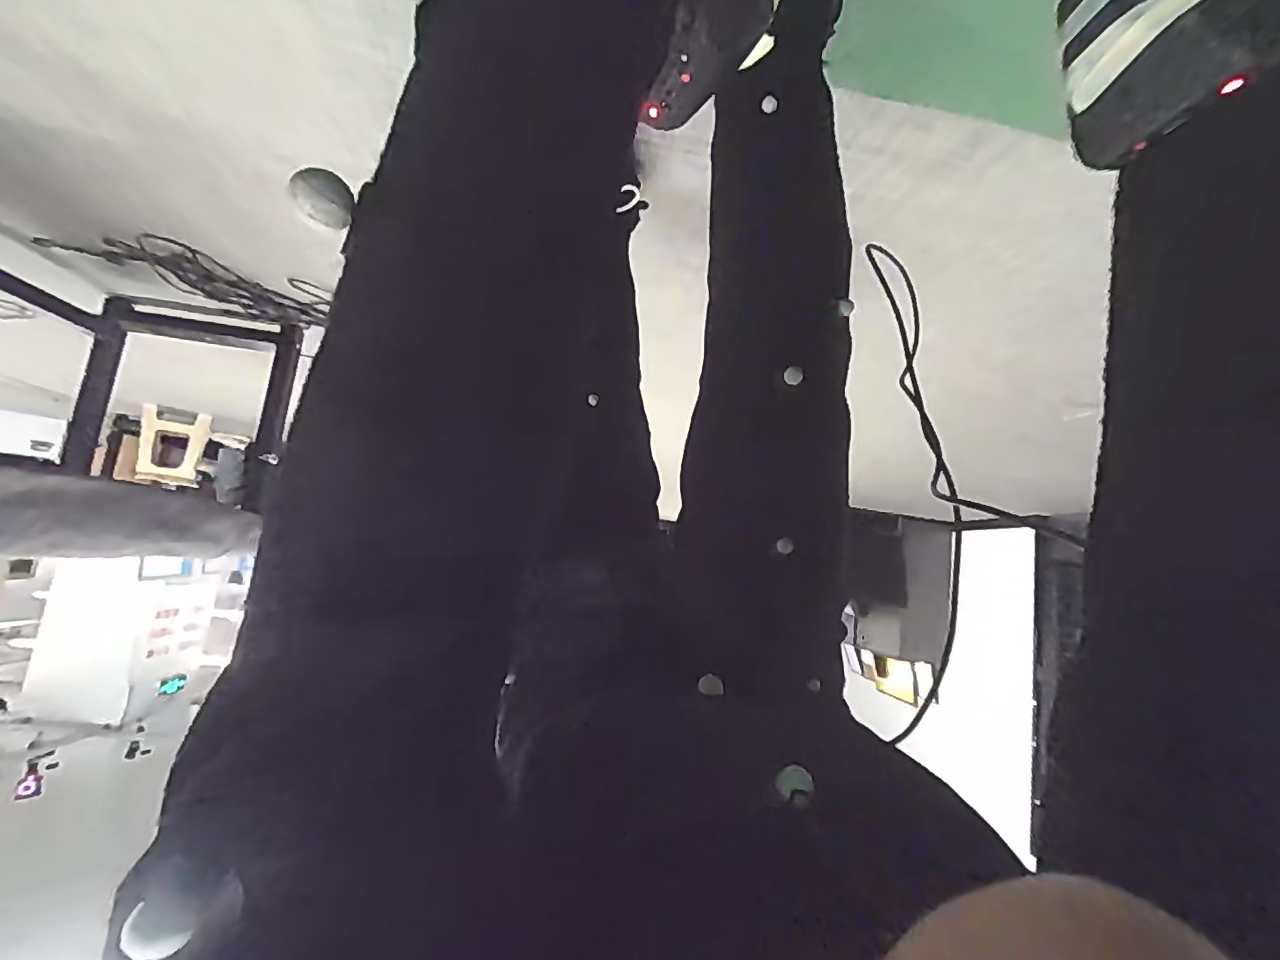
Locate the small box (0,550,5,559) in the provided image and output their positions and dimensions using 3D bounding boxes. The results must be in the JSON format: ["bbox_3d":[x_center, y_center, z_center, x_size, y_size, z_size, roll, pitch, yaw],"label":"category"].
[{"bbox_3d":[-1.262,0.188,0.915,0.179,0.176,0.168,7,173,-7],"label":"small box"}]
